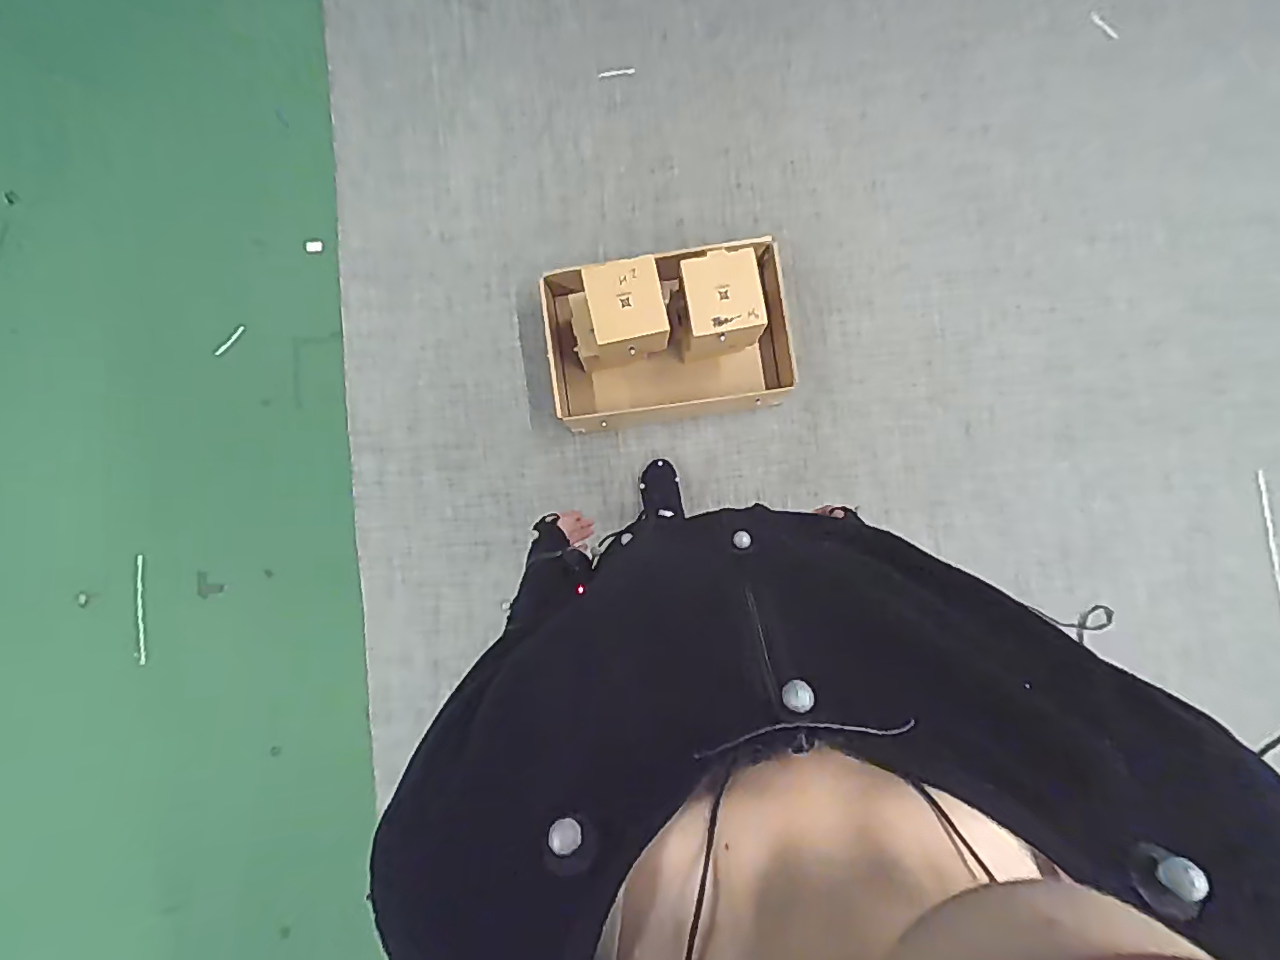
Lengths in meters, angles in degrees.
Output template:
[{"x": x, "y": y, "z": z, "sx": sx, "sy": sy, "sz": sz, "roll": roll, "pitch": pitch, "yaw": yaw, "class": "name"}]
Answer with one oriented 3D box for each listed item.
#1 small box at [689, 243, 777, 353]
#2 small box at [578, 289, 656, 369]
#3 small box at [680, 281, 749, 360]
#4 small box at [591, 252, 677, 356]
[{"x": 0.208, "y": -0.413, "z": 1.251, "sx": 0.168, "sy": 0.176, "sz": 0.179, "roll": -10, "pitch": 87, "yaw": 4, "class": "small box"}, {"x": -0.055, "y": -0.403, "z": 1.430, "sx": 0.179, "sy": 0.176, "sz": 0.168, "roll": -10, "pitch": 88, "yaw": 1, "class": "small box"}, {"x": 0.207, "y": -0.428, "z": 1.416, "sx": 0.179, "sy": 0.176, "sz": 0.168, "roll": -14, "pitch": 87, "yaw": 3, "class": "small box"}, {"x": -0.011, "y": -0.398, "z": 1.264, "sx": 0.168, "sy": 0.176, "sz": 0.179, "roll": -12, "pitch": 88, "yaw": 0, "class": "small box"}]
